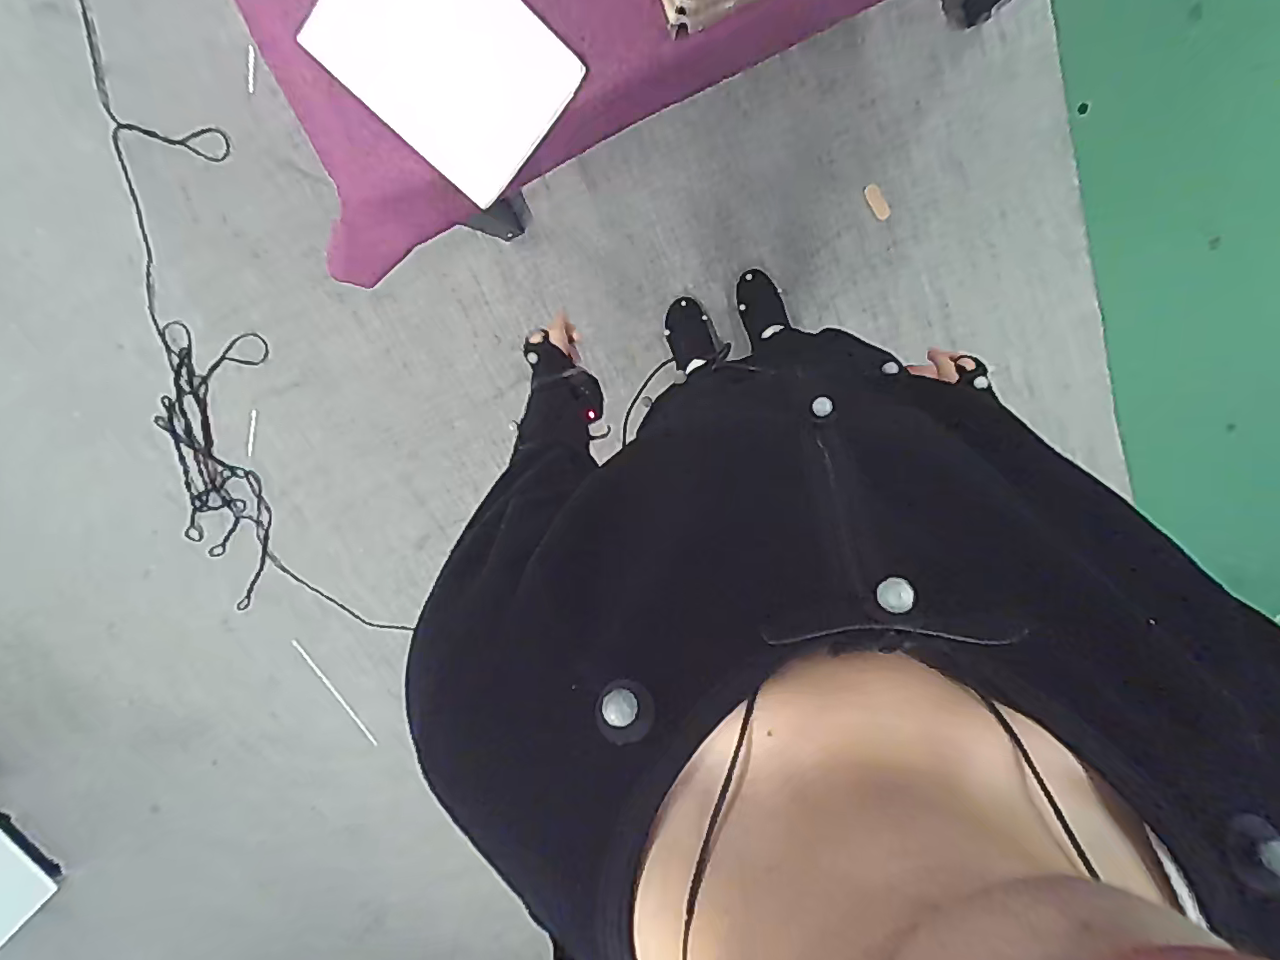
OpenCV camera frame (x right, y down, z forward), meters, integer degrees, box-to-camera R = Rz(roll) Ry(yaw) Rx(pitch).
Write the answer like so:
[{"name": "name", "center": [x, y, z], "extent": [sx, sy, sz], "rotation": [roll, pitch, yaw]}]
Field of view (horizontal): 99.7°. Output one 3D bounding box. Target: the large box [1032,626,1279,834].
[{"name": "large box", "center": [1.483, 0.709, 1.569], "extent": [0.408, 0.320, 0.320], "rotation": [-37, 105, 11]}]
